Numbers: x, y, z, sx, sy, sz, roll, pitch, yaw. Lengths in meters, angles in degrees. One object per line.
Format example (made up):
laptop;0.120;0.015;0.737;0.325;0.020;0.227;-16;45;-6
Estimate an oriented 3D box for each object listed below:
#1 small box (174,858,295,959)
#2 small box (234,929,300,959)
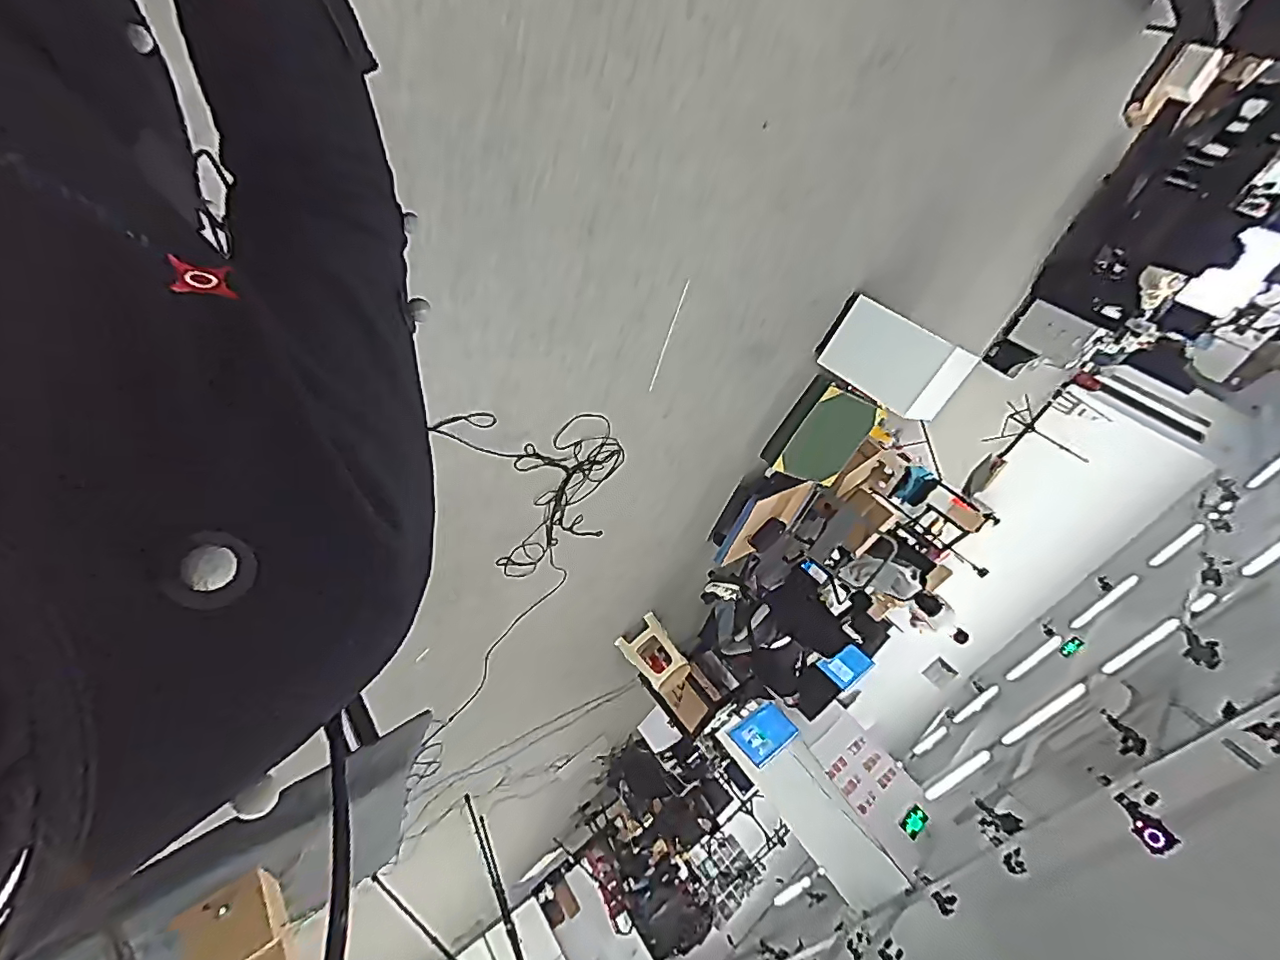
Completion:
small box;-0.921;1.009;1.235;0.168;0.176;0.179;-23;144;-33
small box;-0.830;1.123;1.163;0.179;0.176;0.168;-19;141;-36
